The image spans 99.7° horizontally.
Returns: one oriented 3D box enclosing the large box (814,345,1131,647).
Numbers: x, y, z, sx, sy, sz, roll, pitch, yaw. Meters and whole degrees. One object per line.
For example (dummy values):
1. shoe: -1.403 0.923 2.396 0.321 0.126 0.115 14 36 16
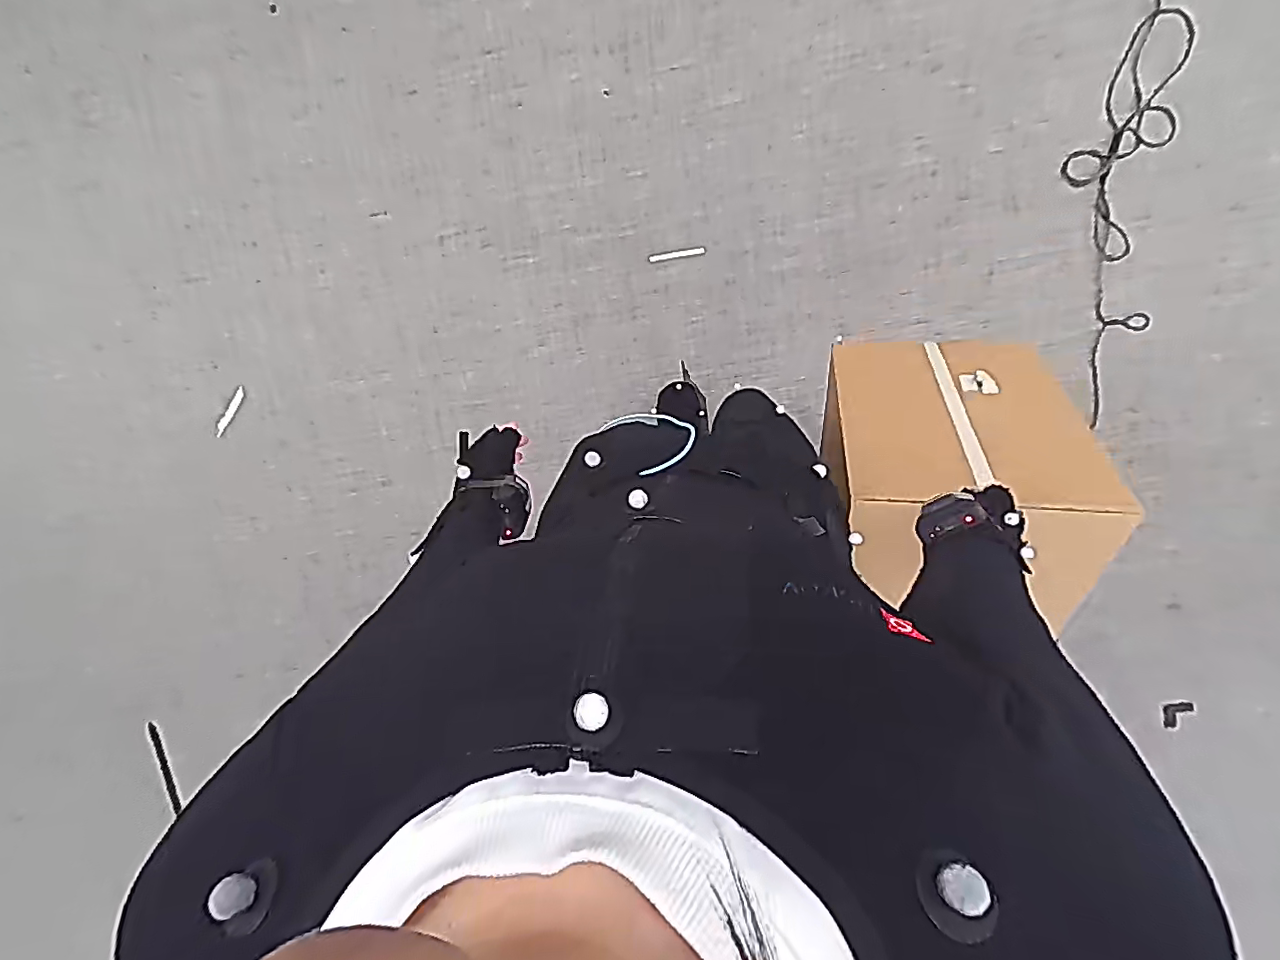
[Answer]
1. large box: 0.471 0.013 0.893 0.320 0.408 0.320 3 131 11
